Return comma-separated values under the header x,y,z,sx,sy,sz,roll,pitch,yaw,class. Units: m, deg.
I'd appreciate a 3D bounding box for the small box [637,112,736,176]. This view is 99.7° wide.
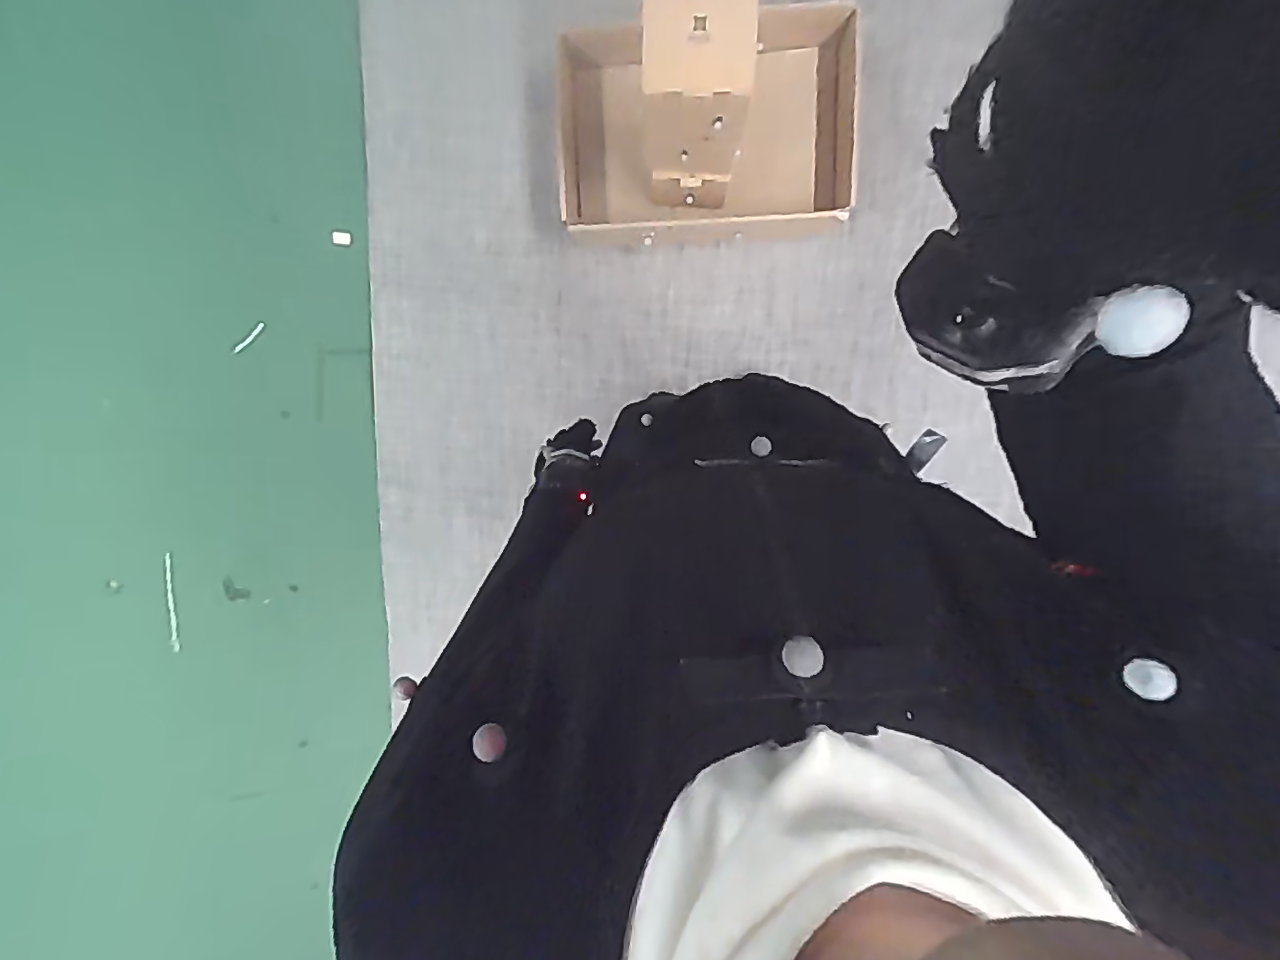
x,y,z,sx,sy,sz,roll,pitch,yaw,class
0.096,-0.692,1.014,0.179,0.176,0.168,8,99,3,small box

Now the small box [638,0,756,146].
x,y,z,sx,sy,sz,roll,pitch,yaw,class
0.086,-0.657,0.856,0.168,0.176,0.179,2,98,2,small box

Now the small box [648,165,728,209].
x,y,z,sx,sy,sz,roll,pitch,yaw,class
0.110,-0.709,1.177,0.168,0.176,0.179,5,100,2,small box
